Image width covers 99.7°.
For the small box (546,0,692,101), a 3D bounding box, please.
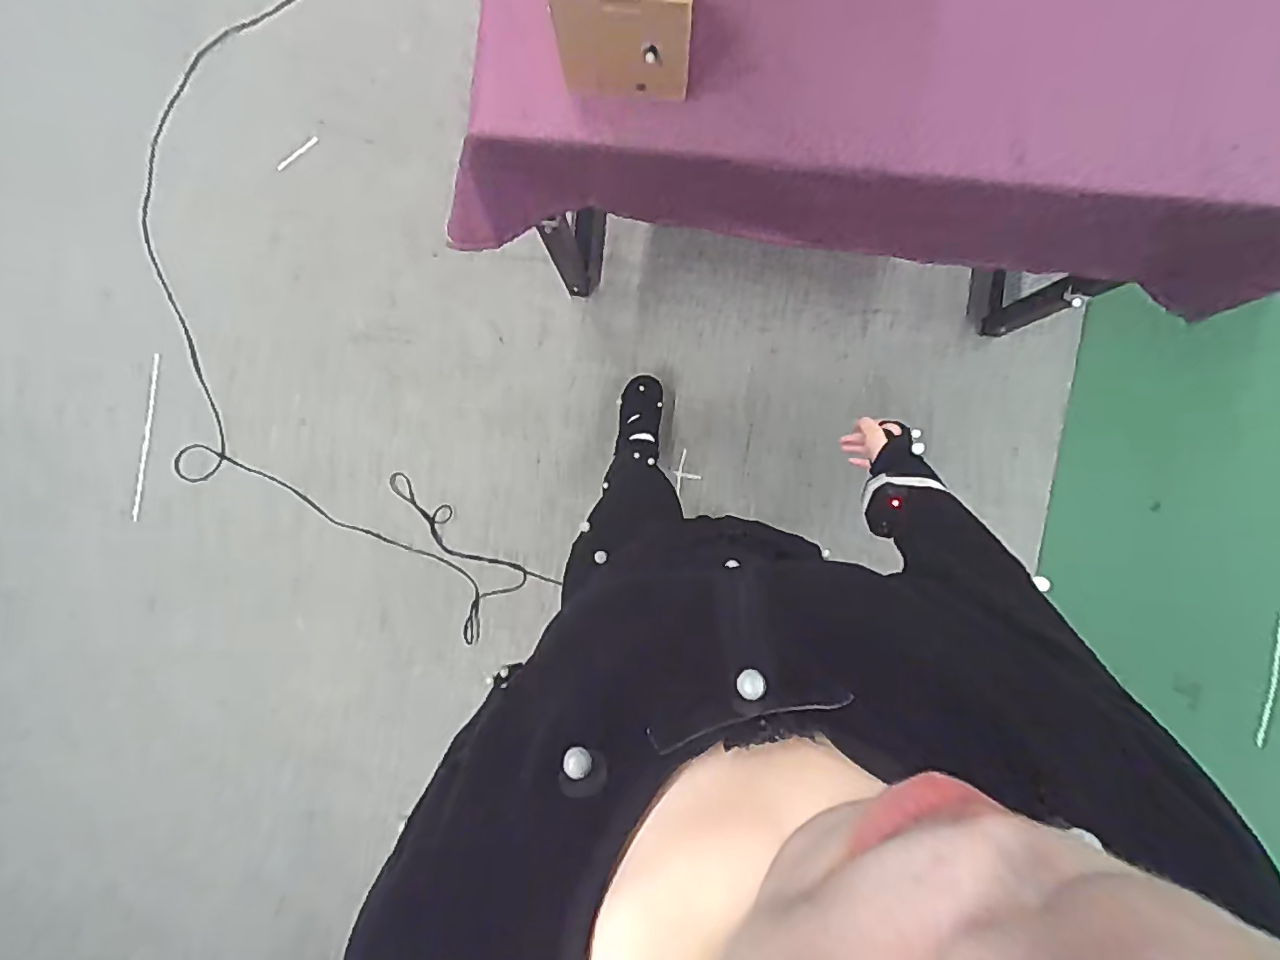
[{"bbox_3d":[-0.017,-0.622,0.685,0.168,0.176,0.179,5,90,1],"label":"small box"}]
